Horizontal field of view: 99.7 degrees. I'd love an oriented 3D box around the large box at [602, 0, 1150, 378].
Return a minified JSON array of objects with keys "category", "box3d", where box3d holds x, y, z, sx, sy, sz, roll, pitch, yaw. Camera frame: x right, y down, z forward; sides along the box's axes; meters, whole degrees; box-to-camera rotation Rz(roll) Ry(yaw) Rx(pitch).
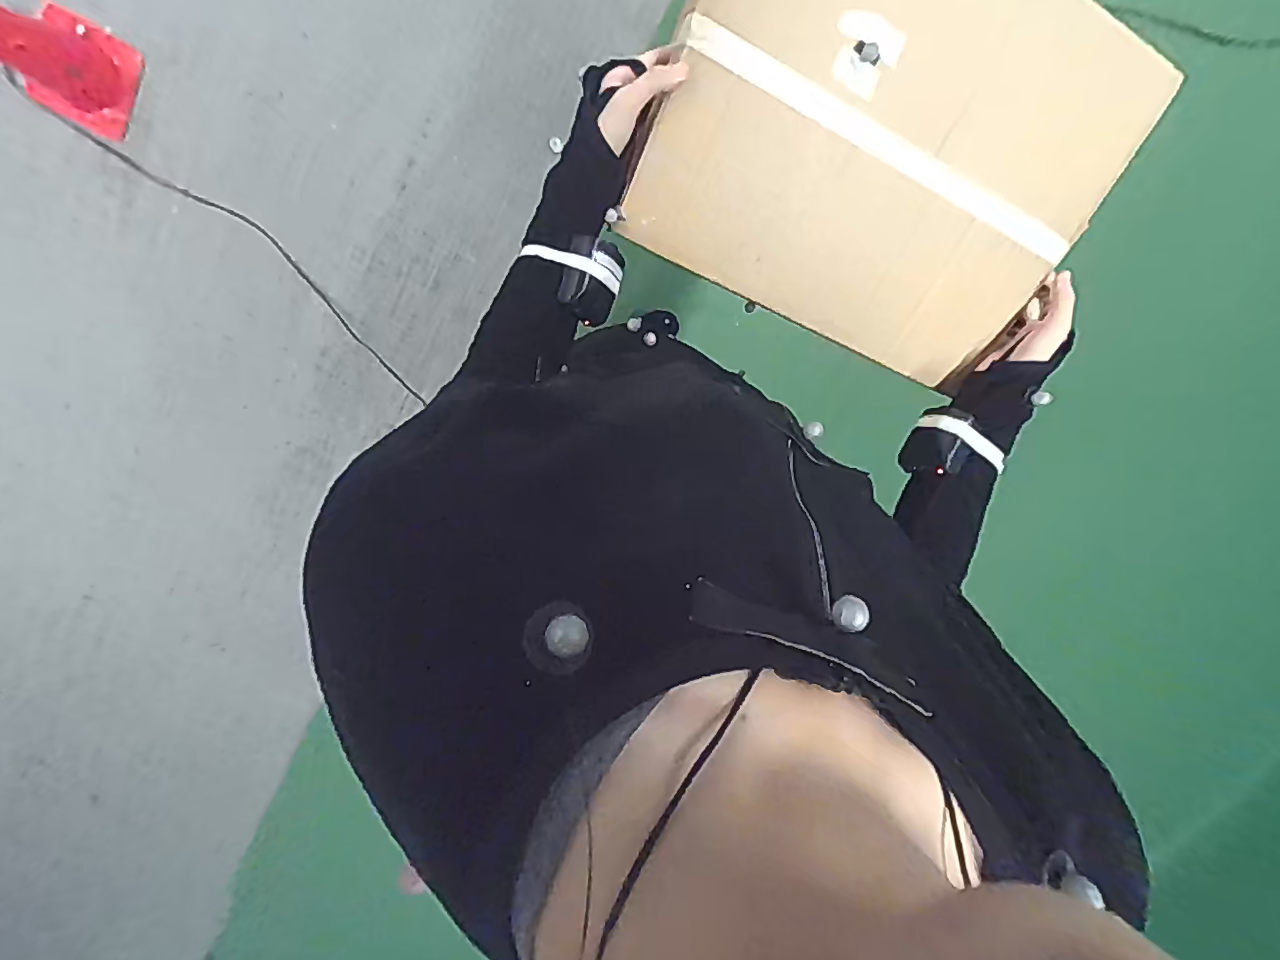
[{"category":"large box","box3d":[0.197,-0.364,0.616,0.408,0.320,0.320,20,114,-14]}]
